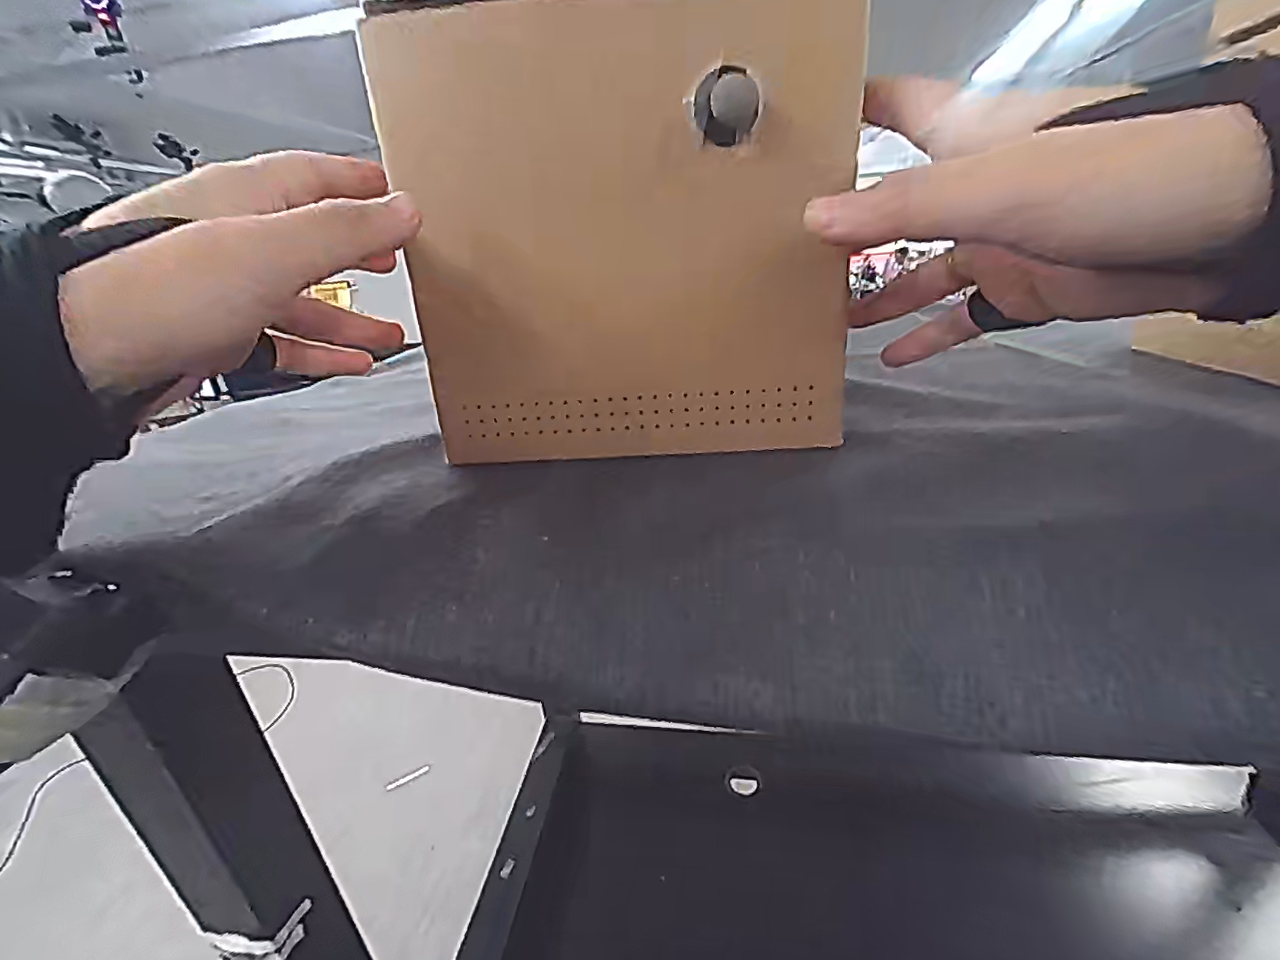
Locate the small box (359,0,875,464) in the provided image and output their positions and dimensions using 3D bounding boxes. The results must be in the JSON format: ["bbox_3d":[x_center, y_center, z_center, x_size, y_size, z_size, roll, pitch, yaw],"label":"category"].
[{"bbox_3d":[0.001,-0.114,0.279,0.179,0.176,0.168,-3,21,6],"label":"small box"}]

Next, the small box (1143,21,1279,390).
[{"bbox_3d":[0.382,-0.127,0.236,0.168,0.176,0.179,0,22,13],"label":"small box"}]
